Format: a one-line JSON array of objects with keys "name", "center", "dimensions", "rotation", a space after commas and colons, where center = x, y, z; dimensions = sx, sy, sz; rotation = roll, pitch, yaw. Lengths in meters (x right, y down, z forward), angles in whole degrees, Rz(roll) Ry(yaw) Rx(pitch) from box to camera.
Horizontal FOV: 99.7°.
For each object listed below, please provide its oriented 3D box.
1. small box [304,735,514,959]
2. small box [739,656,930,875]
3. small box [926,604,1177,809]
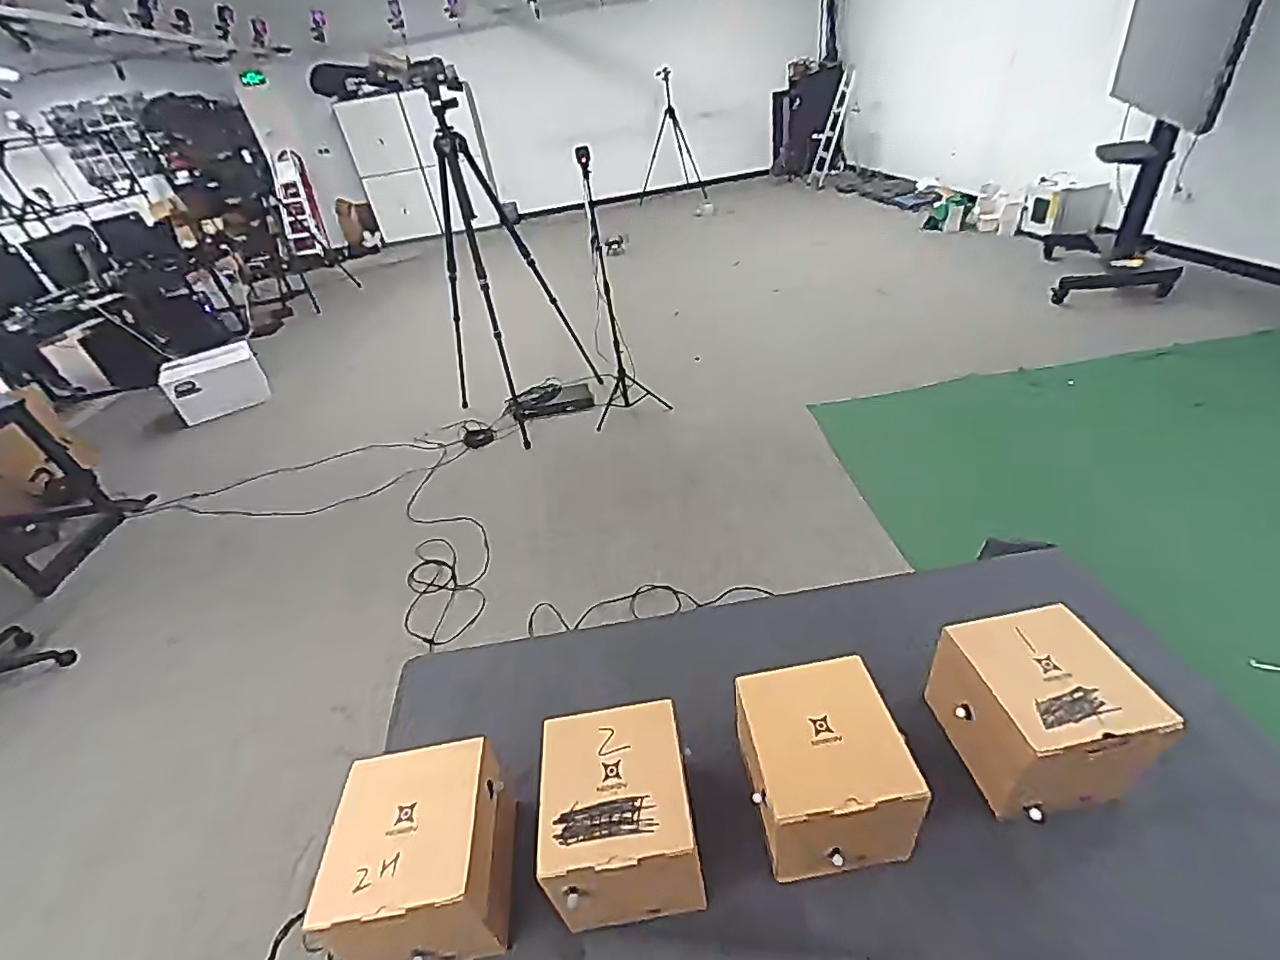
[{"name": "small box", "center": [-0.255, 0.445, 0.651], "dimensions": [0.168, 0.176, 0.179], "rotation": [-10, 35, -2]}, {"name": "small box", "center": [0.224, 0.354, 0.678], "dimensions": [0.168, 0.176, 0.179], "rotation": [-10, 37, -1]}, {"name": "small box", "center": [0.499, 0.293, 0.692], "dimensions": [0.168, 0.176, 0.179], "rotation": [-10, 35, -1]}]
